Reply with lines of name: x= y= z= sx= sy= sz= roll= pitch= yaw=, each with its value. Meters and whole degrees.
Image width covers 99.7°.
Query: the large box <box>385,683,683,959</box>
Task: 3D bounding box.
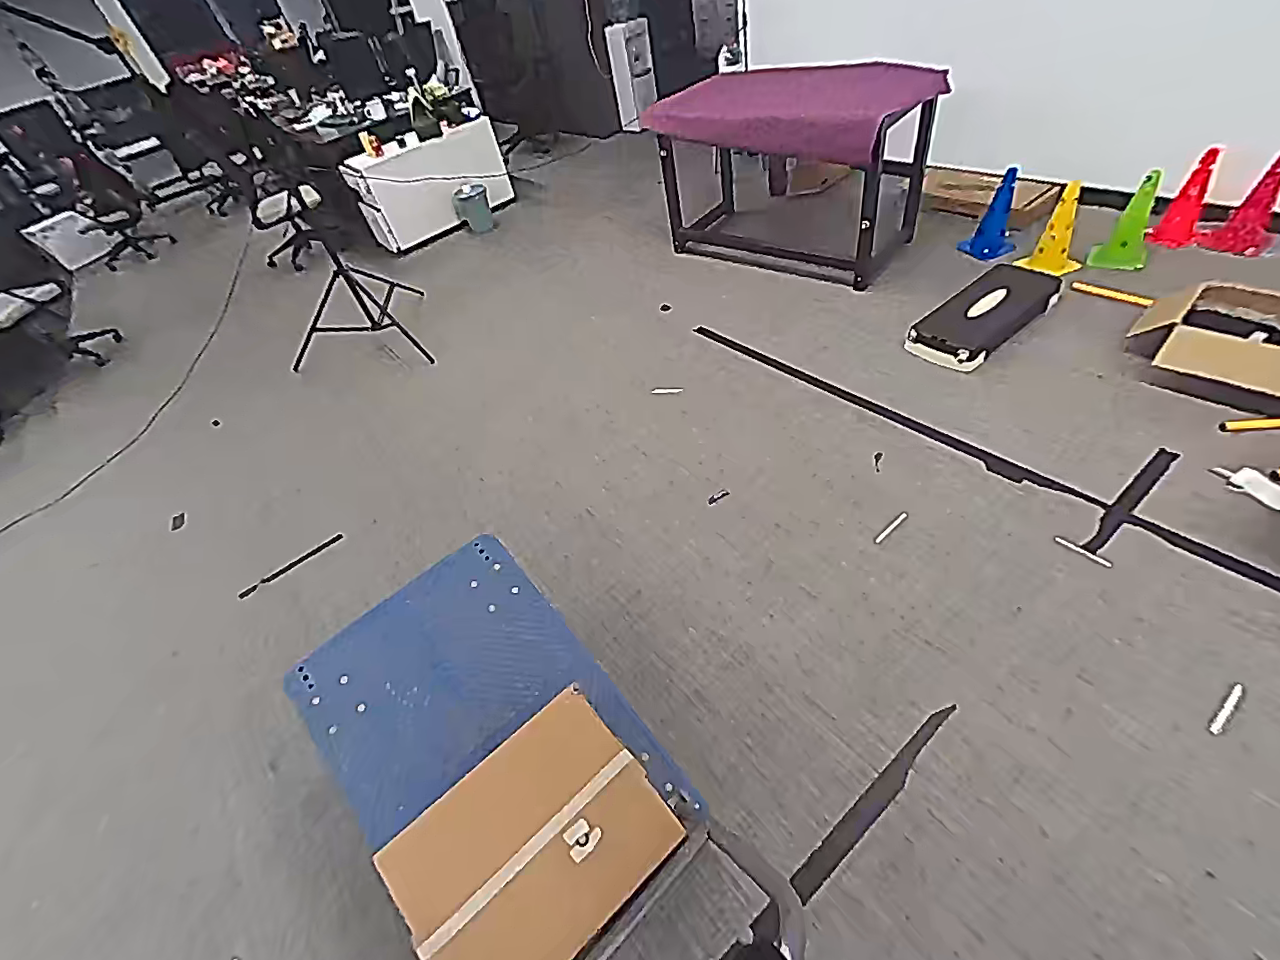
large box: x=-0.179 y=0.667 z=1.024 sx=0.408 sy=0.320 sz=0.320 roll=-38 pitch=71 yaw=-21
